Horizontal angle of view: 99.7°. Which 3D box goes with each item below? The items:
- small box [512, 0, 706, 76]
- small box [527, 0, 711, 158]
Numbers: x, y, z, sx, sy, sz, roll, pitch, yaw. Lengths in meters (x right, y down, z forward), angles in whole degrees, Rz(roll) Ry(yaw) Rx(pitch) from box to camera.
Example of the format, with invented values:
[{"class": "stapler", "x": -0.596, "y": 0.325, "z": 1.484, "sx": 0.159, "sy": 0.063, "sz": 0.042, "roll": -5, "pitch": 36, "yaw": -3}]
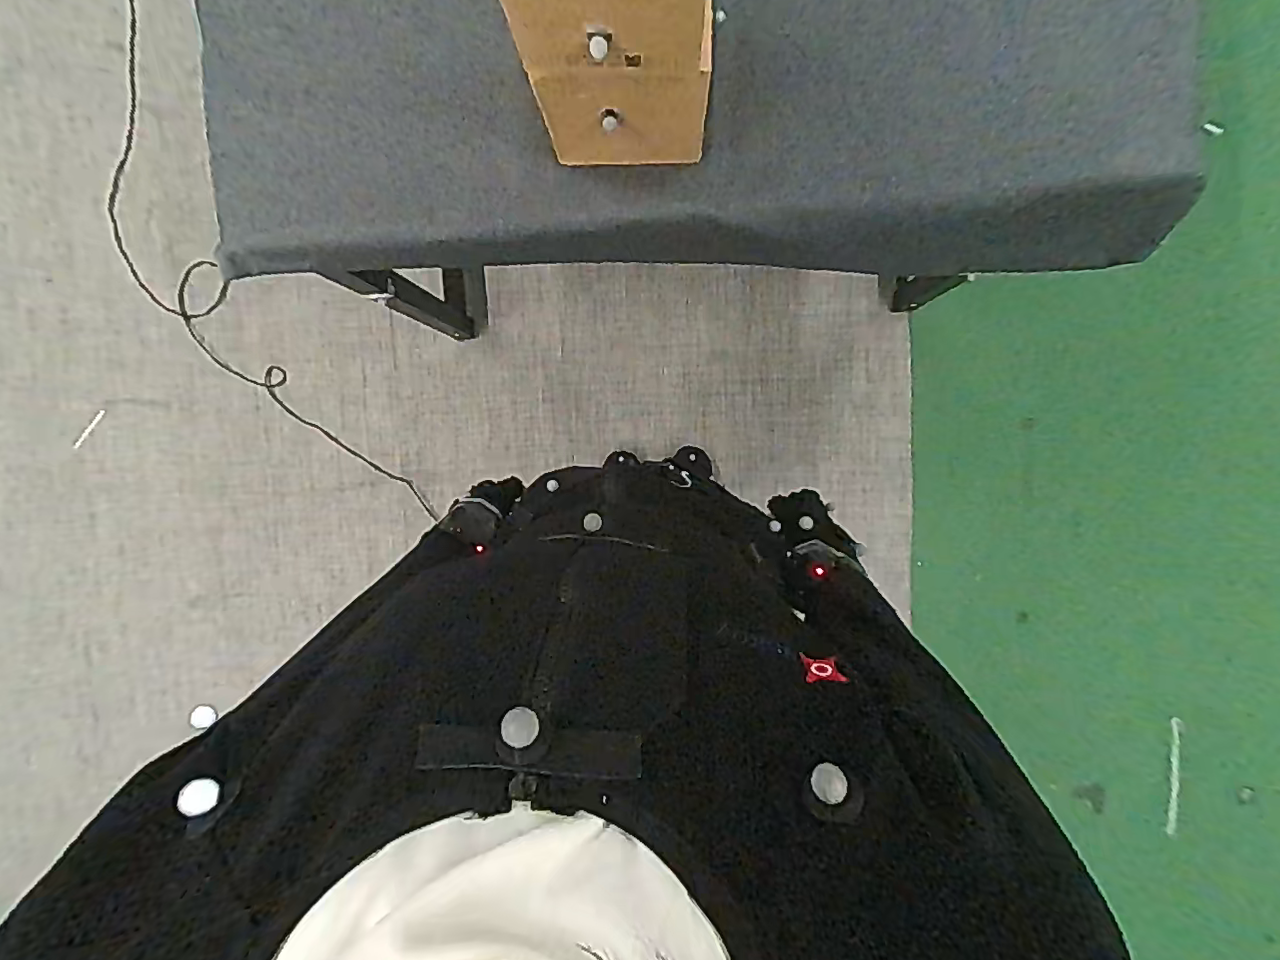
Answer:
[{"class": "small box", "x": -0.023, "y": -0.465, "z": 0.420, "sx": 0.168, "sy": 0.176, "sz": 0.179, "roll": 5, "pitch": 95, "yaw": 2}, {"class": "small box", "x": -0.015, "y": -0.473, "z": 0.584, "sx": 0.179, "sy": 0.176, "sz": 0.168, "roll": 1, "pitch": 94, "yaw": 3}]
